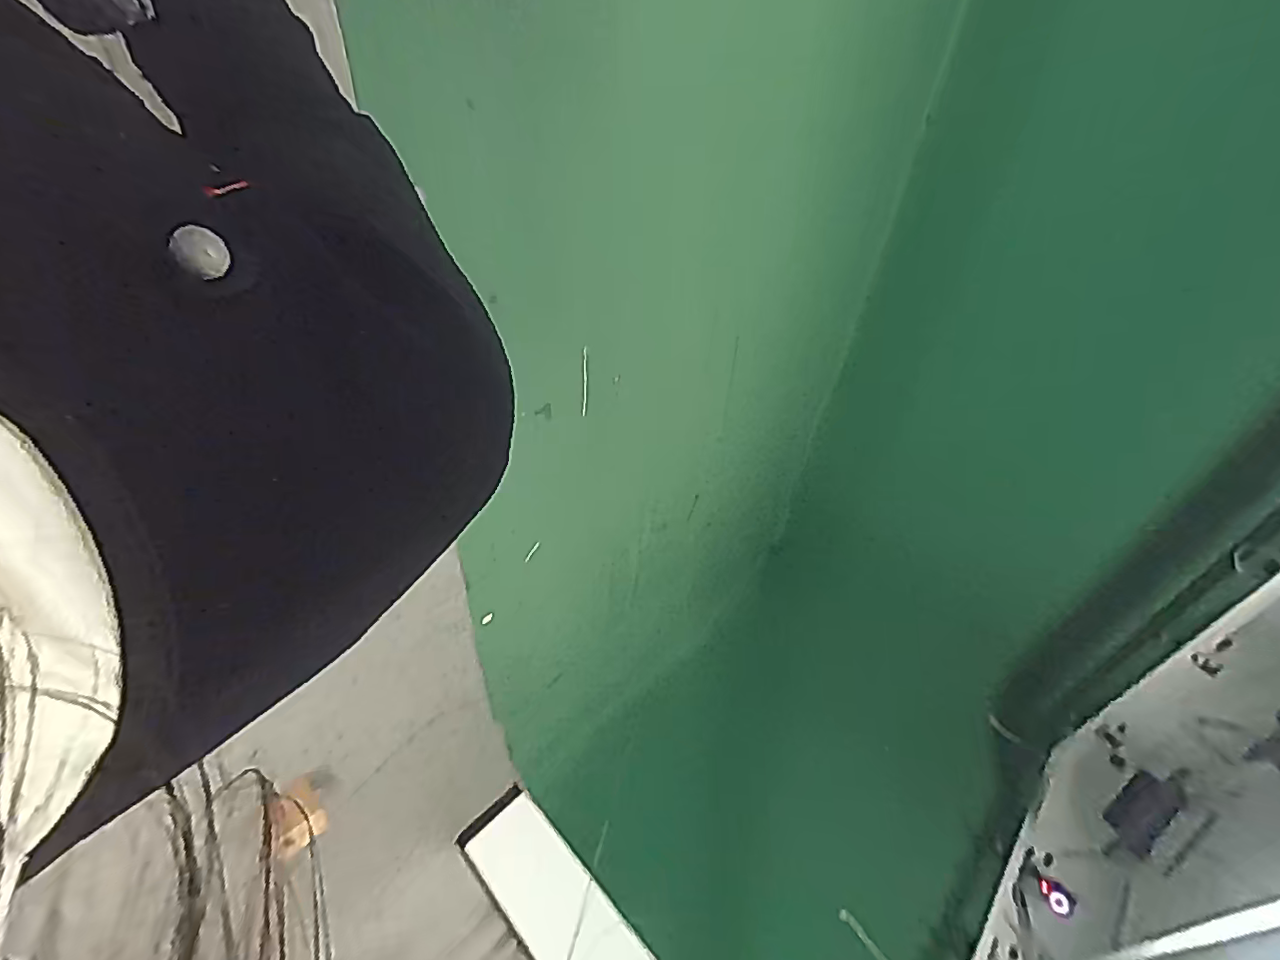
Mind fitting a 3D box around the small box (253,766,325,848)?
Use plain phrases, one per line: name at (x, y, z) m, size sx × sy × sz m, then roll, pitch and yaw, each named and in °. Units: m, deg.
small box at (-1.355, 1.255, 2.081) m, size 0.179 × 0.176 × 0.168 m, roll -30°, pitch 142°, yaw -35°
